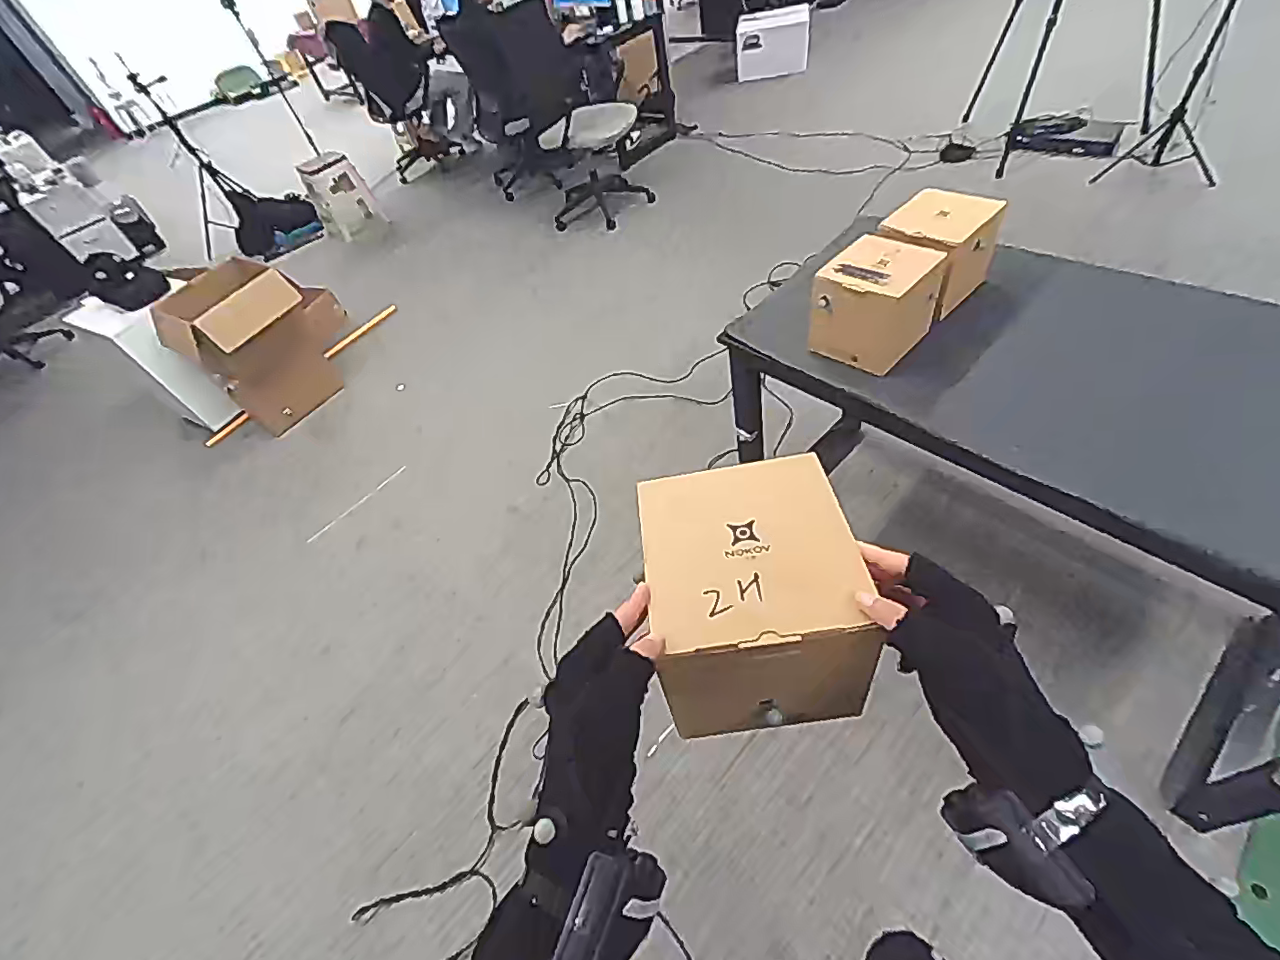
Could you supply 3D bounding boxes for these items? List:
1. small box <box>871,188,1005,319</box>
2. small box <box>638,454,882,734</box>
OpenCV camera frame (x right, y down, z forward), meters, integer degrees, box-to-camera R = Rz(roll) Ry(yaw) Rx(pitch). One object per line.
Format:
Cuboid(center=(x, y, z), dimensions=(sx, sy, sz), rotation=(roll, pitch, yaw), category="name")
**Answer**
Cuboid(center=(0.600, -0.465, 1.113), dimensions=(0.179, 0.176, 0.168), rotation=(-40, 53, -19), category="small box")
Cuboid(center=(0.095, 0.105, 0.491), dimensions=(0.168, 0.176, 0.179), rotation=(-10, 46, 4), category="small box")
